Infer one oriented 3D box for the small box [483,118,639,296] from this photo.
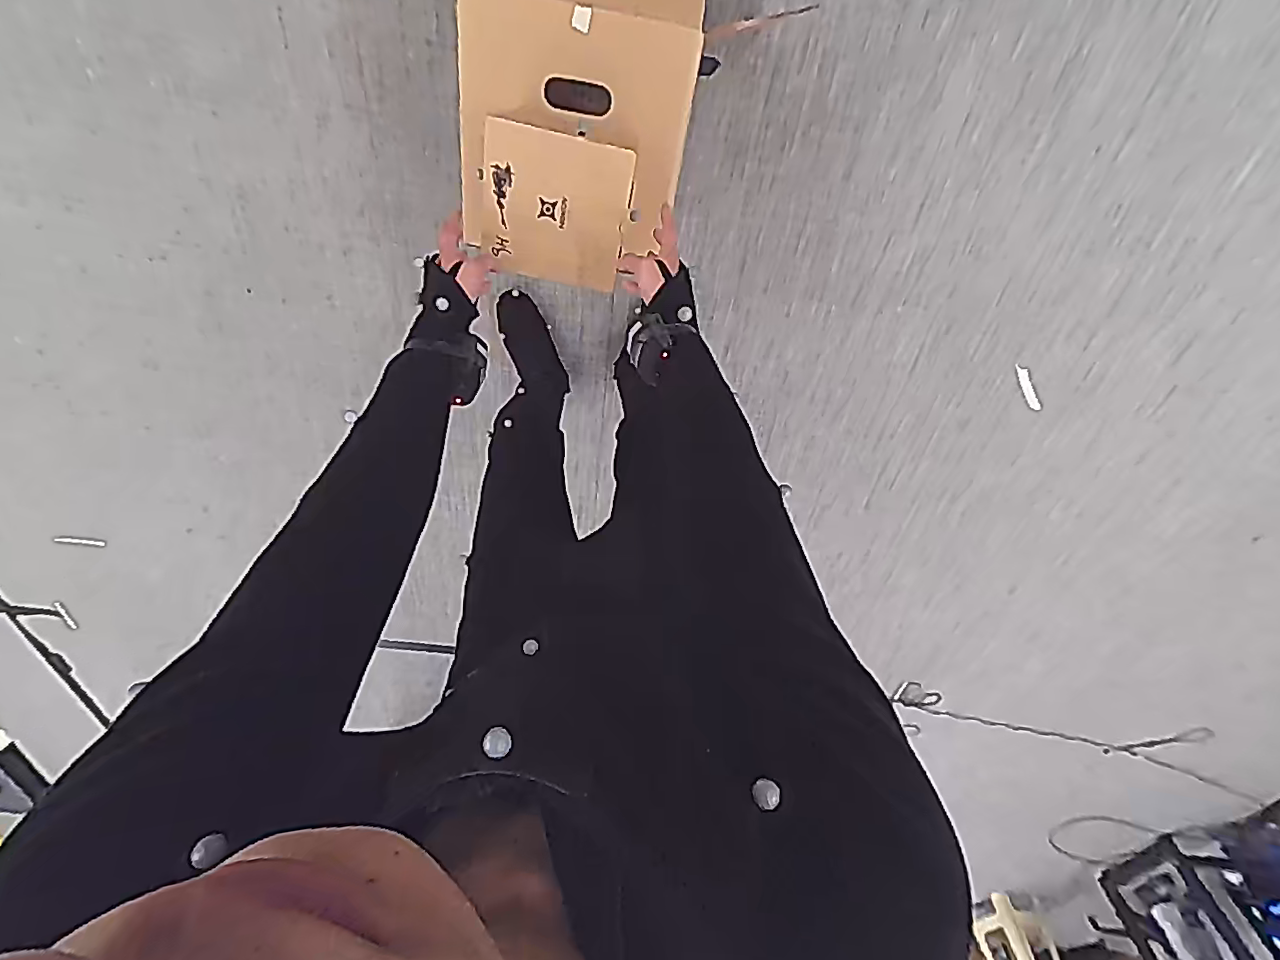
[{"bbox_3d":[-0.103,-0.372,0.729,0.179,0.176,0.168,10,127,-7],"label":"small box"}]
